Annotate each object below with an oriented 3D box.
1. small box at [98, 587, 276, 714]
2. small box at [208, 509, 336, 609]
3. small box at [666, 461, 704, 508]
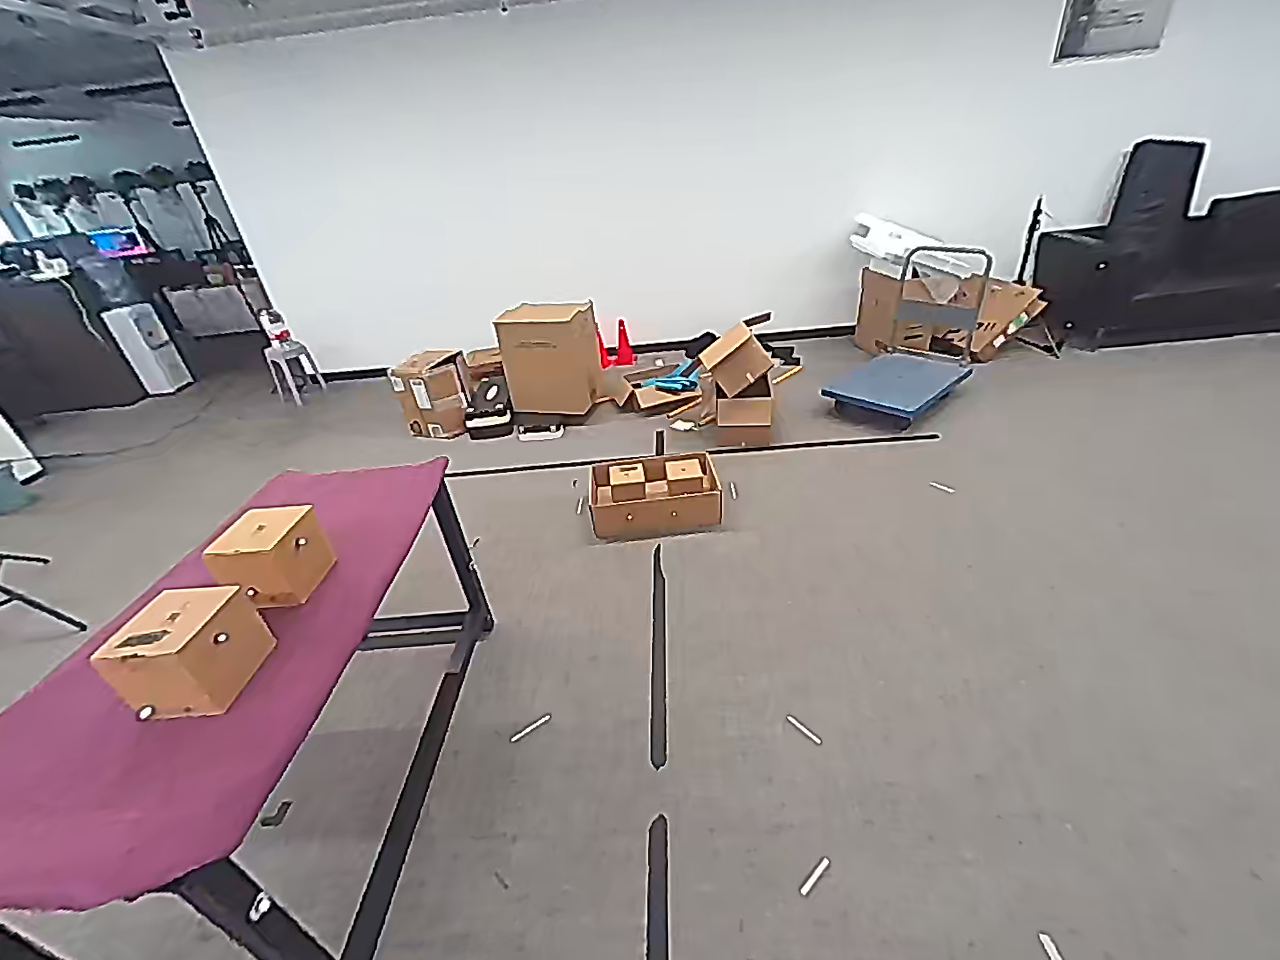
[{"bbox_3d":[-0.859,0.334,1.051,0.168,0.176,0.179,-4,30,3],"label":"small box"},{"bbox_3d":[-0.864,0.188,1.296,0.168,0.176,0.179,-4,32,4],"label":"small box"},{"bbox_3d":[0.223,0.025,2.661,0.168,0.176,0.179,-6,30,1],"label":"small box"}]
